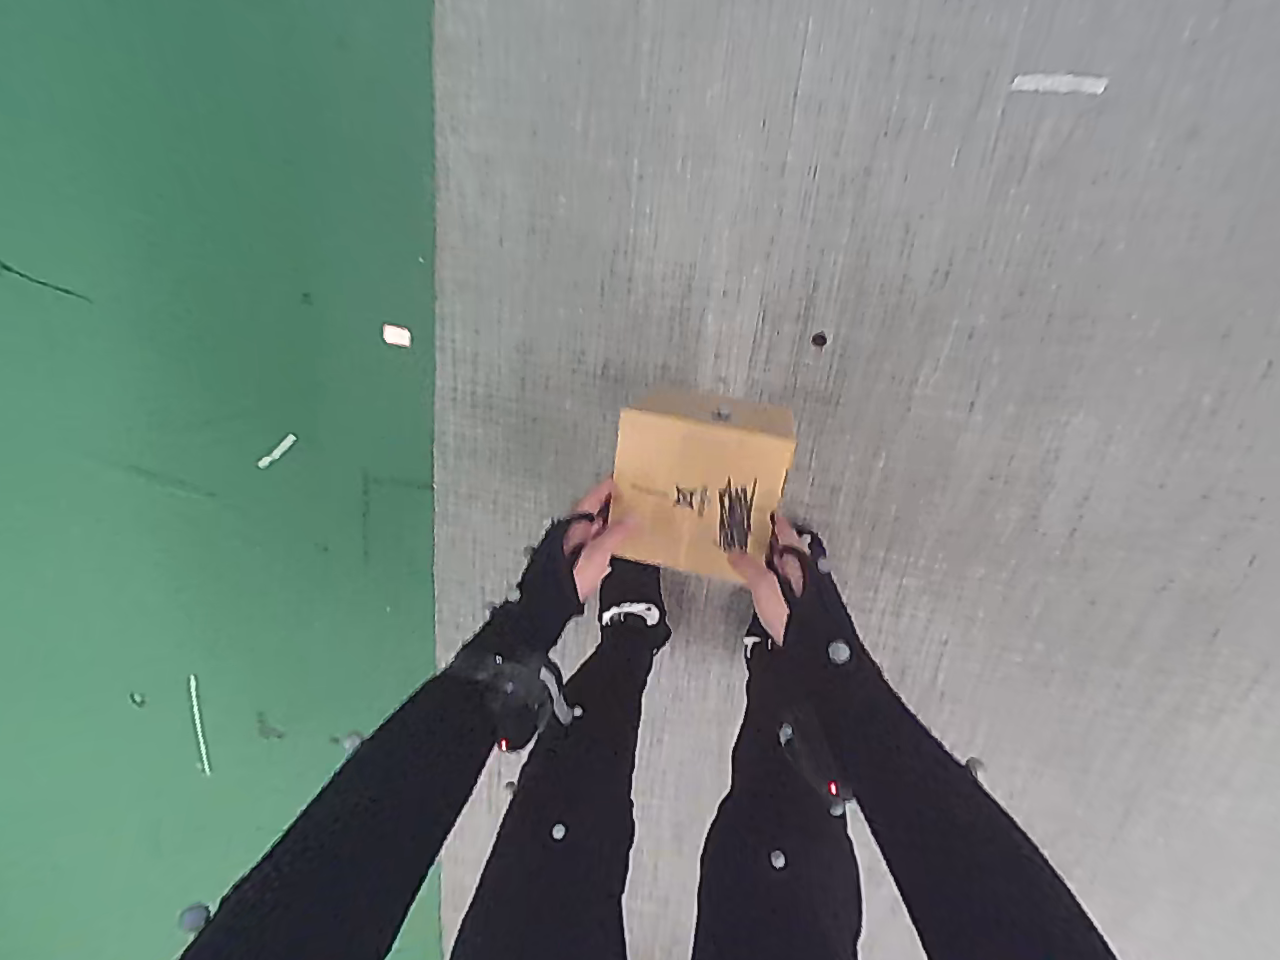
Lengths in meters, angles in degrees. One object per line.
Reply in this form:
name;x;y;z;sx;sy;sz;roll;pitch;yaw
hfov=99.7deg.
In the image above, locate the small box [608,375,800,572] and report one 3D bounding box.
small box;0.077;-0.020;0.625;0.179;0.176;0.168;12;110;11
